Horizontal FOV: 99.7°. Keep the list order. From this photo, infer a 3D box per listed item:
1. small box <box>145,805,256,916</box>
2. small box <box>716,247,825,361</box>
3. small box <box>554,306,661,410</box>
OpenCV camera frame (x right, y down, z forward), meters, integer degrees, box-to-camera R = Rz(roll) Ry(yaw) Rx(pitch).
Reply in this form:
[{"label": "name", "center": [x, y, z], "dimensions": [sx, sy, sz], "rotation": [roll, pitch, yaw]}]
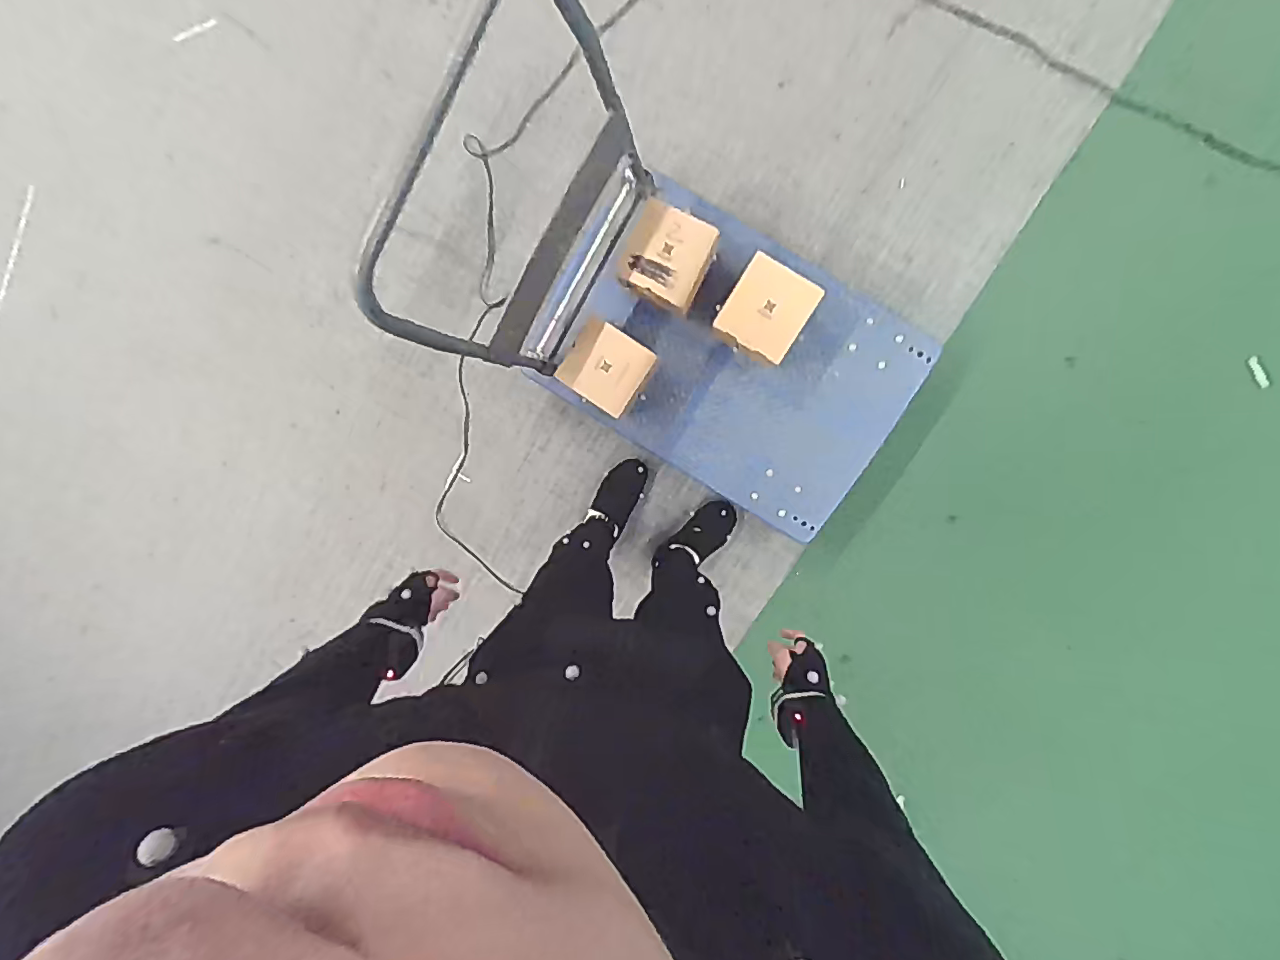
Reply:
[{"label": "small box", "center": [-1.317, 1.142, 1.633], "dimensions": [0.168, 0.176, 0.179], "rotation": [38, 101, -2]}, {"label": "small box", "center": [0.278, -0.383, 1.208], "dimensions": [0.168, 0.176, 0.179], "rotation": [32, 102, 0]}, {"label": "small box", "center": [-0.068, -0.276, 1.261], "dimensions": [0.179, 0.176, 0.168], "rotation": [35, 101, -1]}]
